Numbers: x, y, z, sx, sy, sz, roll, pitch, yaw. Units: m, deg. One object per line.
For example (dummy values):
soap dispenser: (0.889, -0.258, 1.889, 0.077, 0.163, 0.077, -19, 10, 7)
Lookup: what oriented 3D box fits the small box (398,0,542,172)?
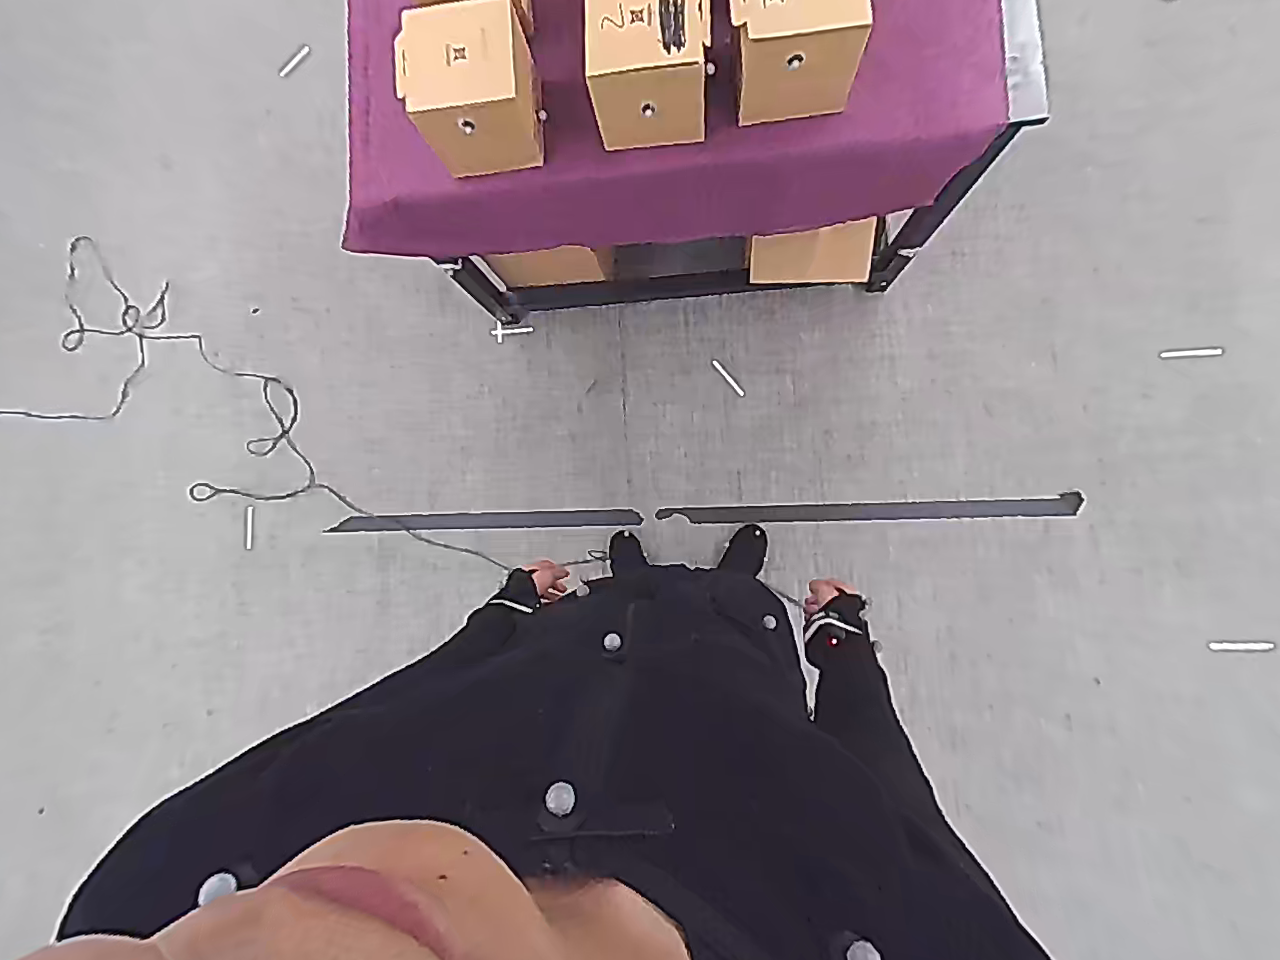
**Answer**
small box: (-0.272, -0.639, 0.893, 0.179, 0.176, 0.168, -4, 87, 5)
